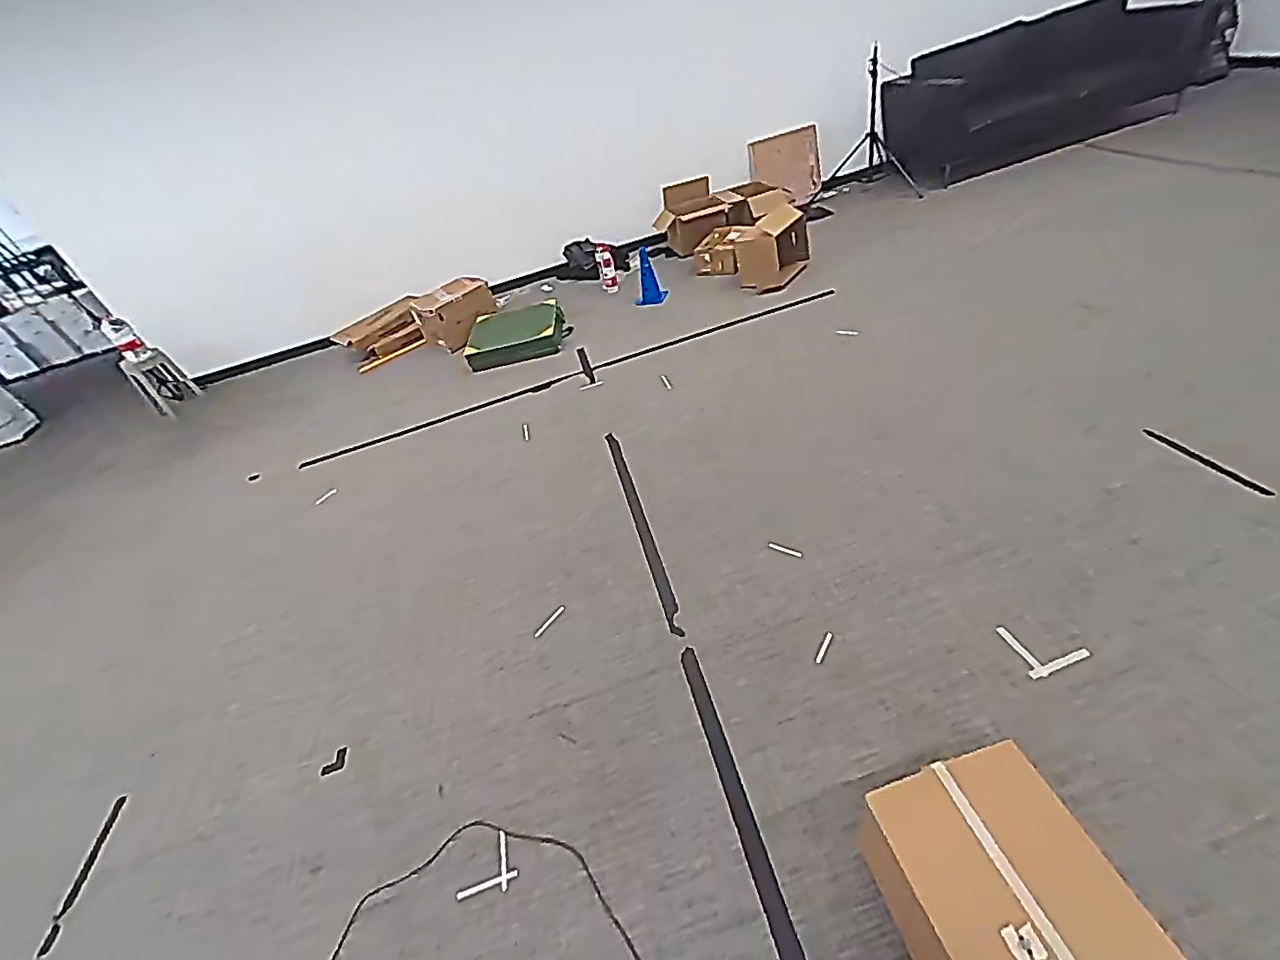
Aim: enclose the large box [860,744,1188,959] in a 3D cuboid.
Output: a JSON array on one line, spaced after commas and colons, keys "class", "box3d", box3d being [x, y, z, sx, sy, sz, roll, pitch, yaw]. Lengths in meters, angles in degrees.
[{"class": "large box", "box3d": [0.655, 0.783, 0.981, 0.320, 0.320, 0.408, -19, 40, -3]}]
